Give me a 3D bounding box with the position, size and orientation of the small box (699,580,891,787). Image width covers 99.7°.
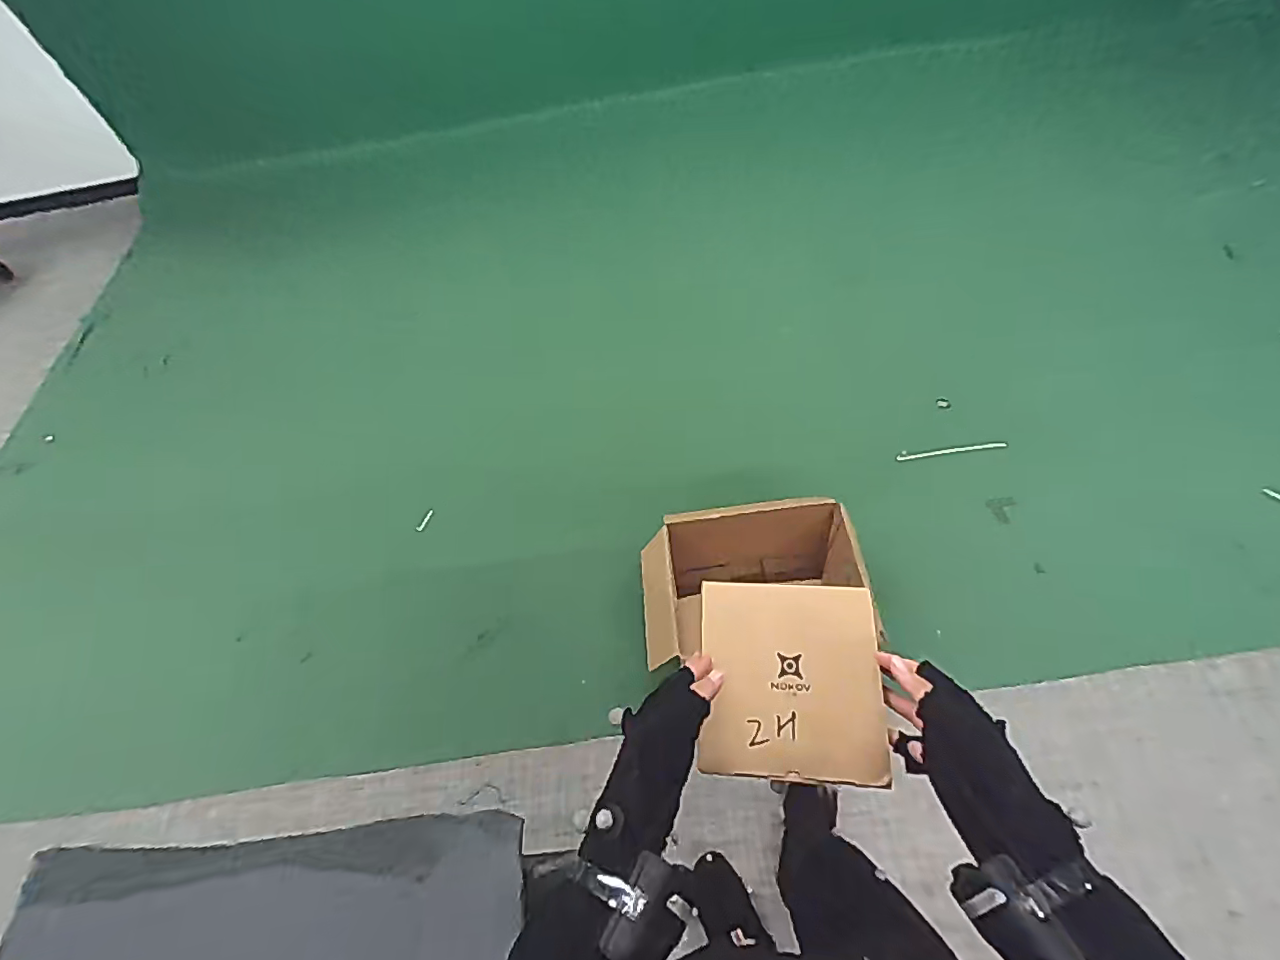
[{"bbox_3d":[0.149,0.218,0.578,0.168,0.176,0.179,1,64,8],"label":"small box"}]
